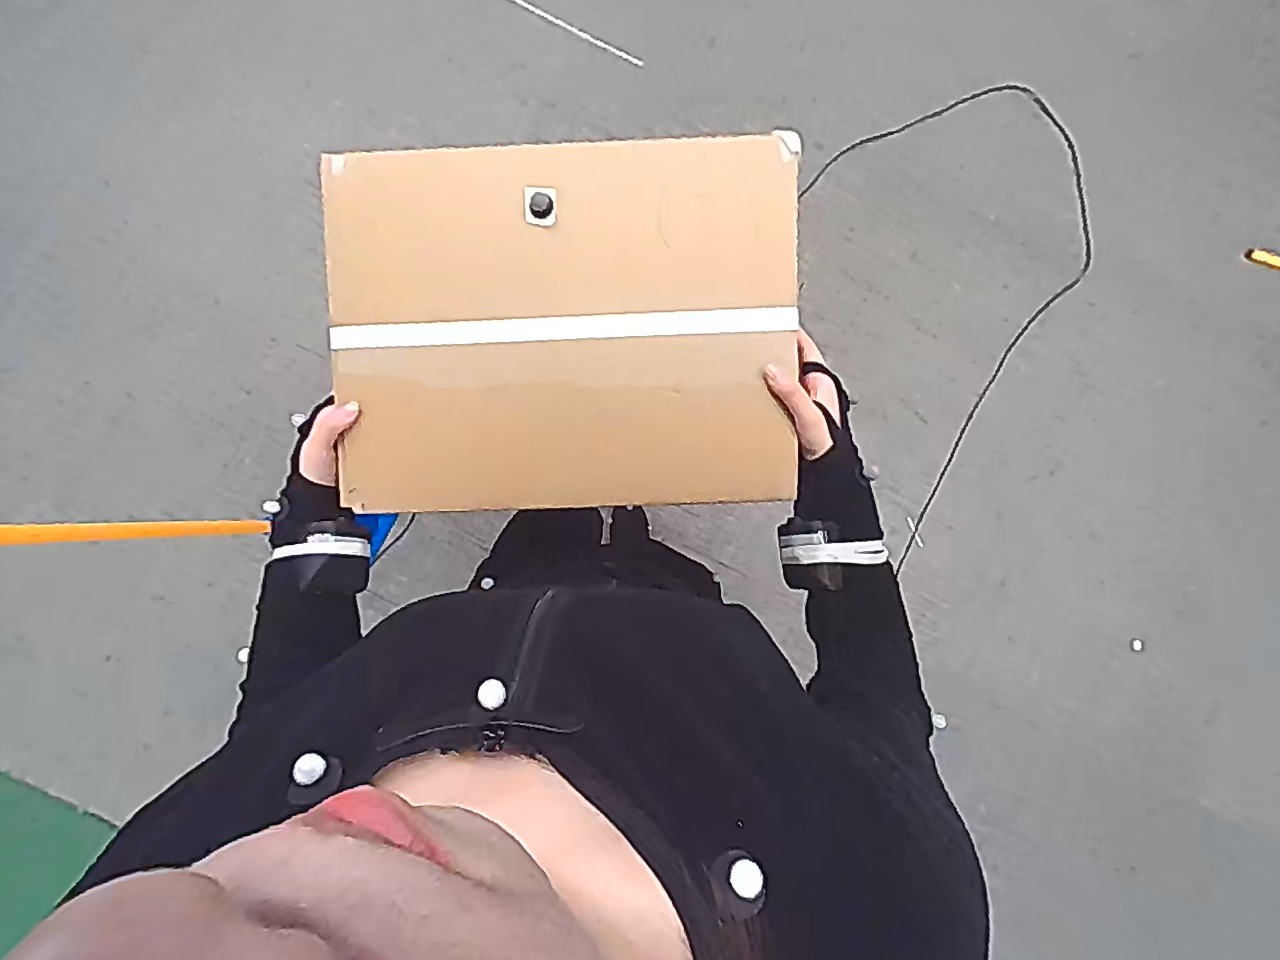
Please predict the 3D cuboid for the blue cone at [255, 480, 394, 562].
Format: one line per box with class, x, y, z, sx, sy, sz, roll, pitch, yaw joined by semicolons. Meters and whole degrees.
blue cone;-0.774;0.101;1.285;0.193;0.380;0.192;25;86;0
